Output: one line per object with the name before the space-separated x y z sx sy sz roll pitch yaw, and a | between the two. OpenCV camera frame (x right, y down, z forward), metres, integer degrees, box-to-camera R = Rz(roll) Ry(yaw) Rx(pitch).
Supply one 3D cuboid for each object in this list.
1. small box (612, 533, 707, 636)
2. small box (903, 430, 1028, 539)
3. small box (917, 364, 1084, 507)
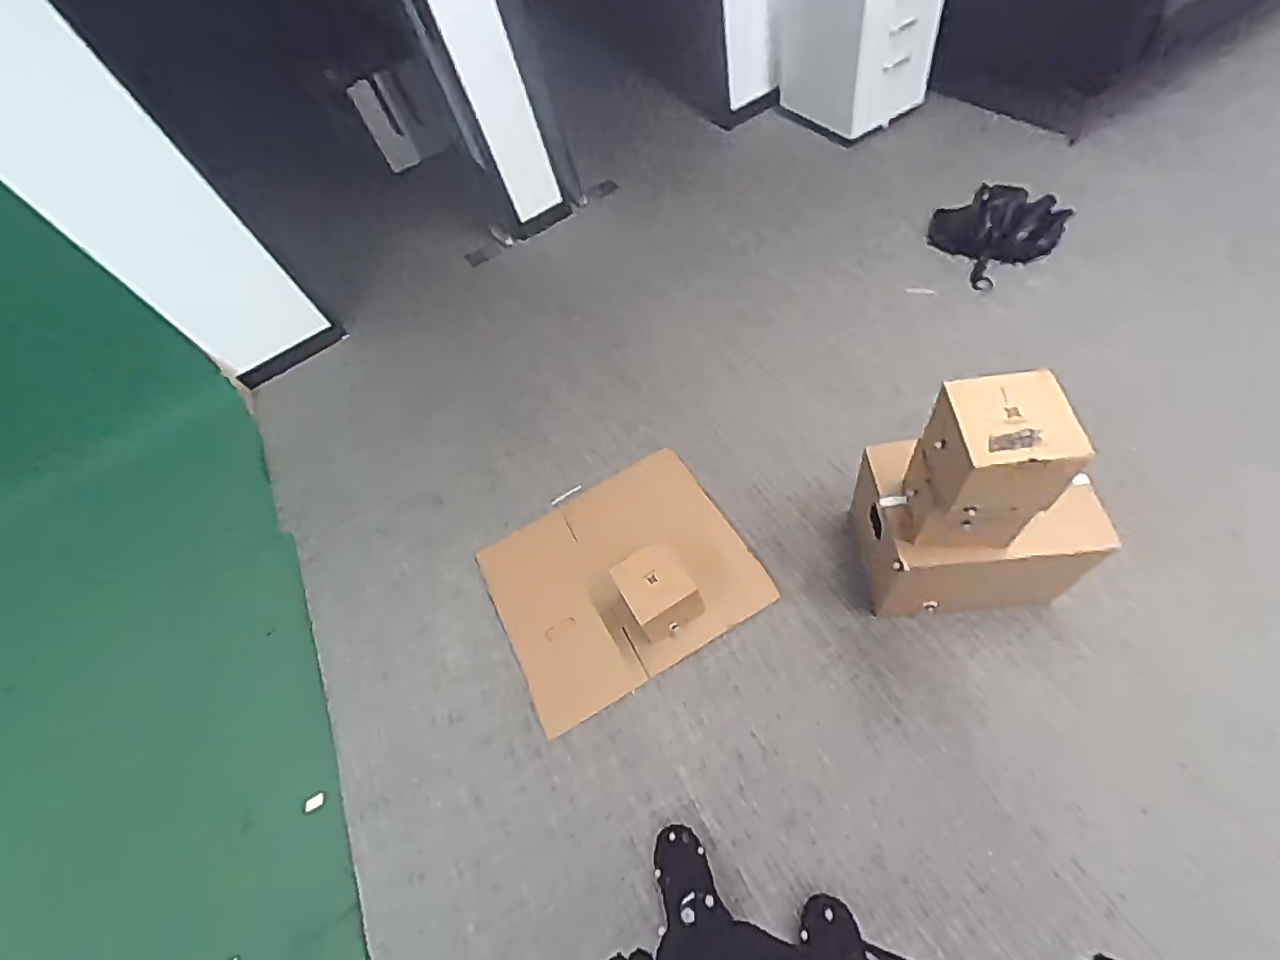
small box | 0.055 0.276 1.404 0.168 0.176 0.179 -33 57 -5
small box | 0.634 0.009 1.070 0.179 0.176 0.168 -3 57 12
small box | 0.597 -0.066 0.924 0.168 0.176 0.179 -9 58 10
